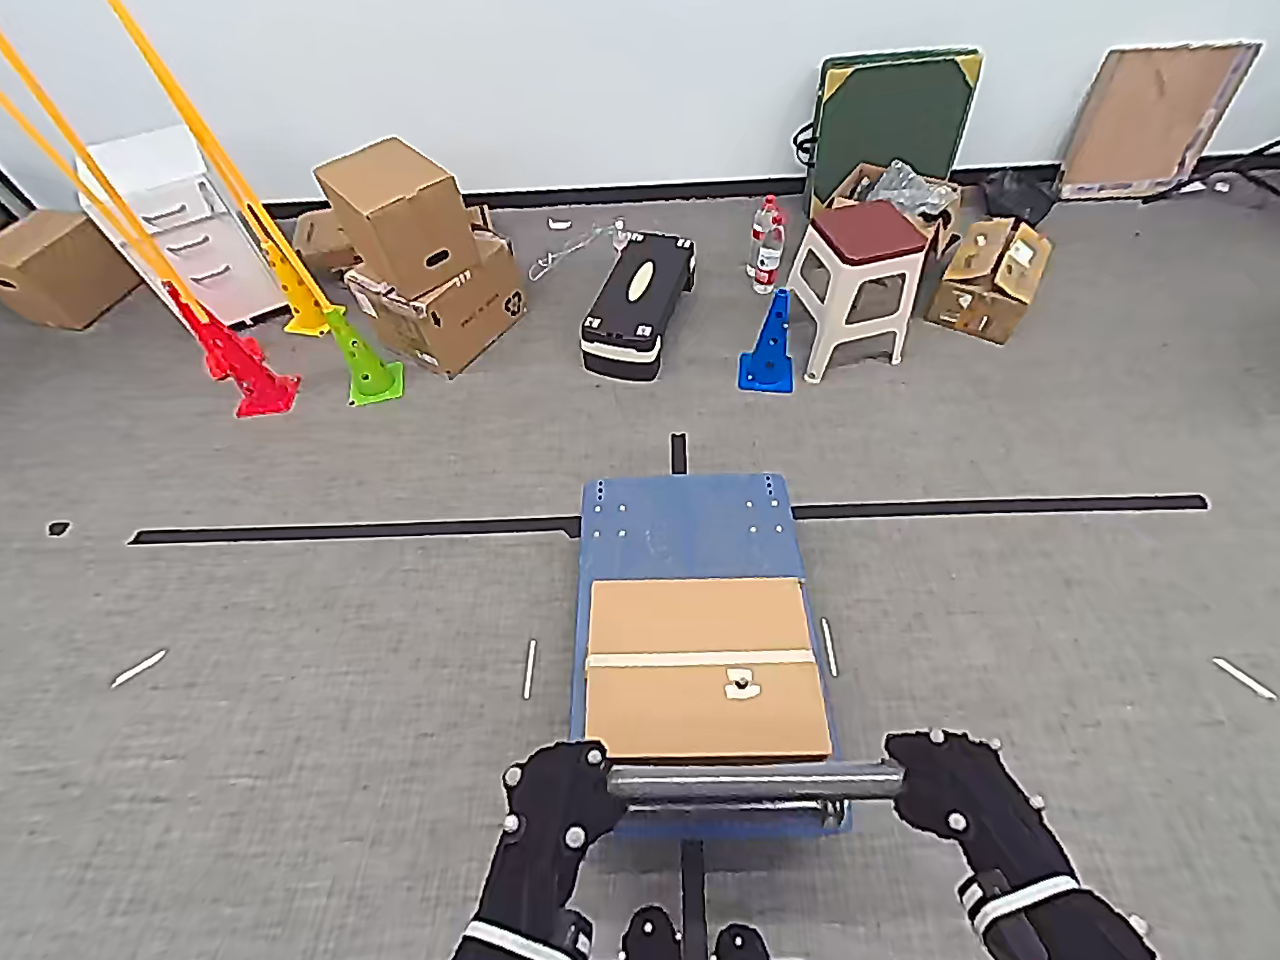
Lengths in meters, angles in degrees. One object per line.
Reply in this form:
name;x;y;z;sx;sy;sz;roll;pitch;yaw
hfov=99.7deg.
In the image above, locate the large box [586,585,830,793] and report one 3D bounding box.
large box;0.107;0.421;1.074;0.408;0.320;0.320;-1;54;0
